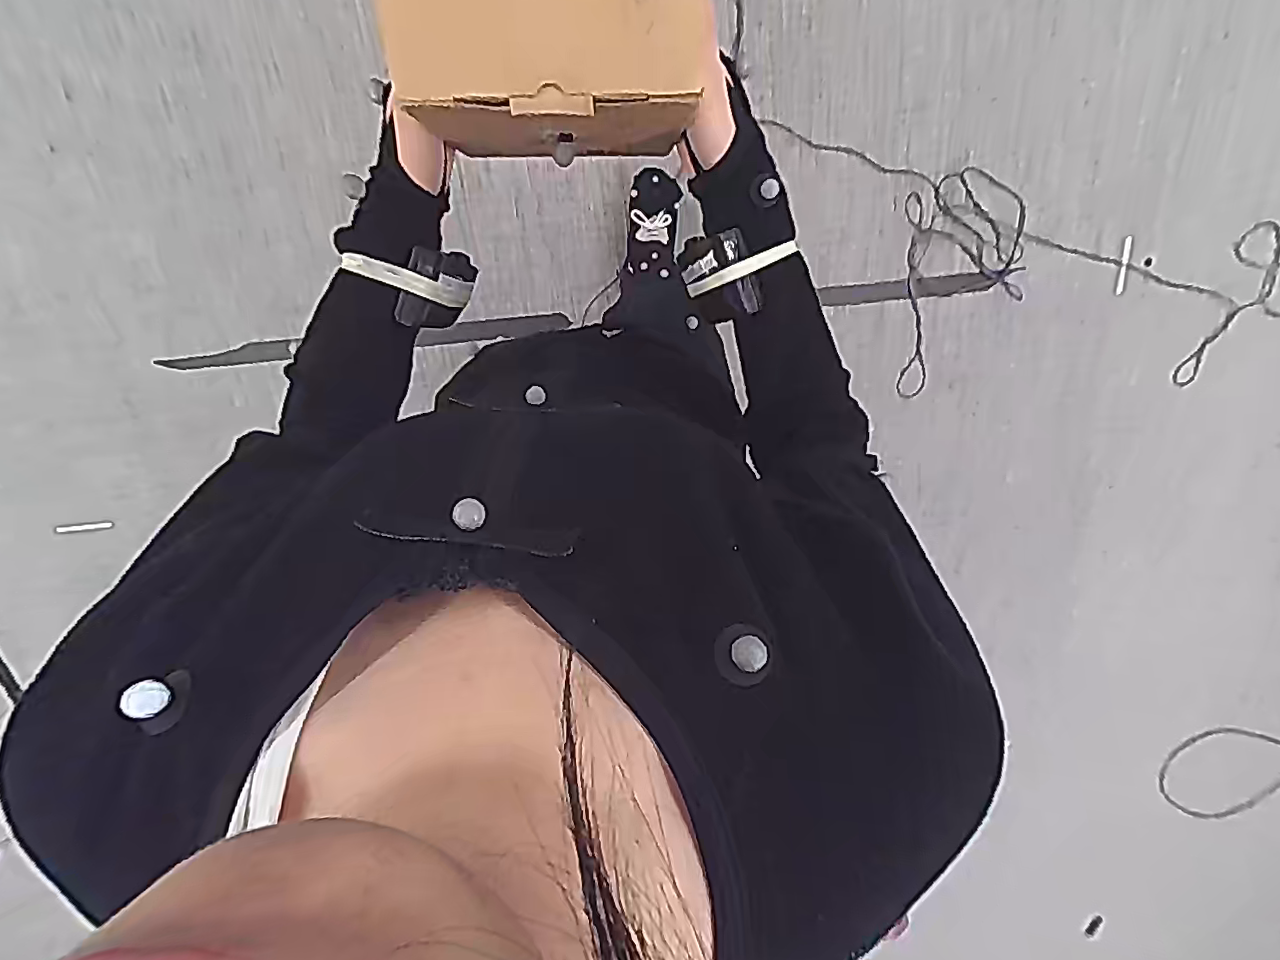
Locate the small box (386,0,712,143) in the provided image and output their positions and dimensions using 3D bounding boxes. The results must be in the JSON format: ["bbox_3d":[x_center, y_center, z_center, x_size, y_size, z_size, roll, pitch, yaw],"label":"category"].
[{"bbox_3d":[-0.049,-0.313,0.323,0.168,0.176,0.179,-3,113,-4],"label":"small box"}]

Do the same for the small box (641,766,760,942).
[{"bbox_3d":[0.093,0.591,0.877,0.168,0.176,0.179,-5,110,-1],"label":"small box"}]
